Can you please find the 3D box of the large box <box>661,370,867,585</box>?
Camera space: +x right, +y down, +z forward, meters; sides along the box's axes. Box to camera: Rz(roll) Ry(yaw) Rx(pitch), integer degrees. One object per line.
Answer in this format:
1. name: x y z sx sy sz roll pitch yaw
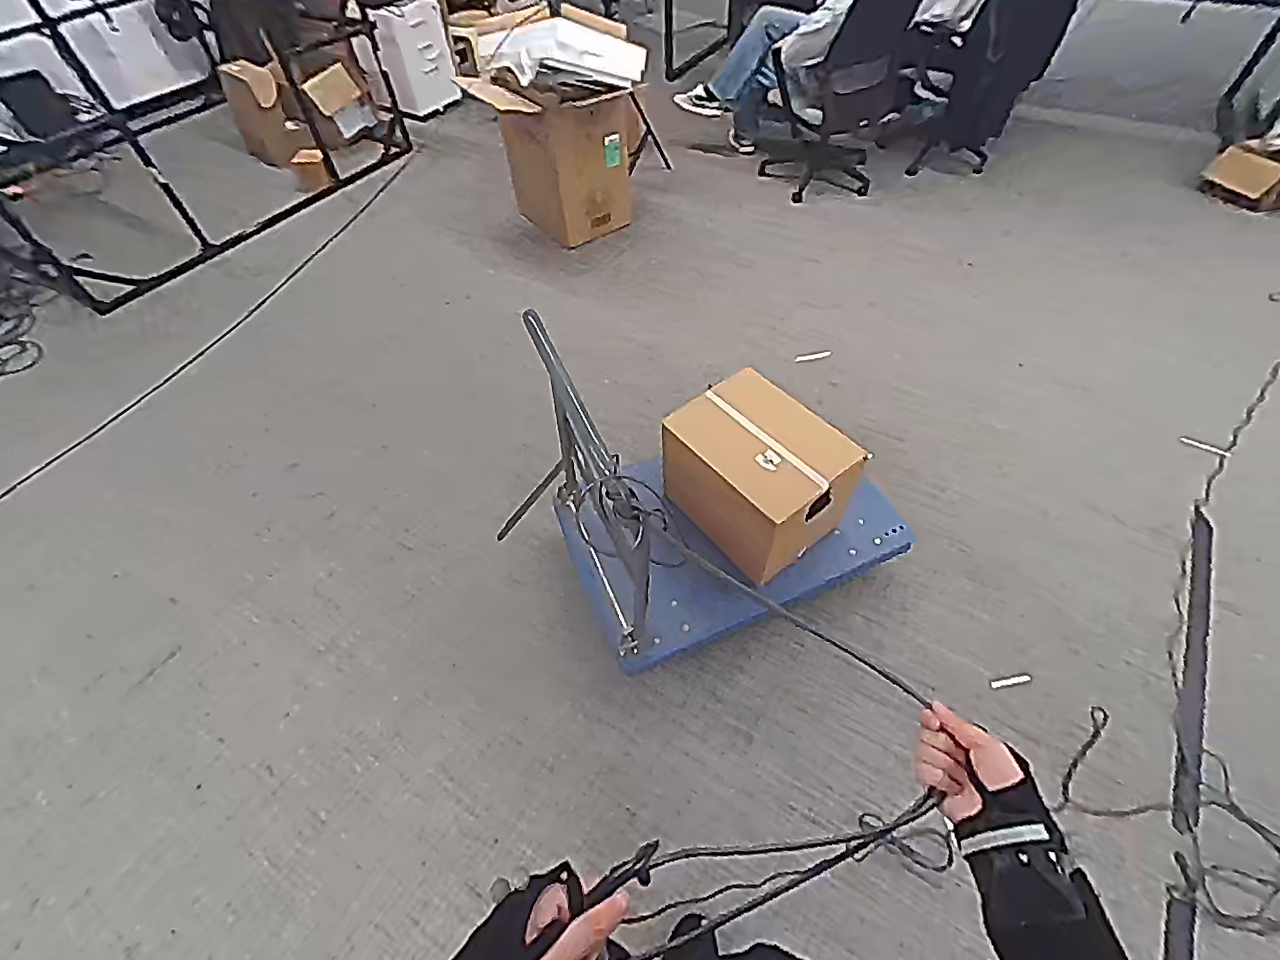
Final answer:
1. large box: 0.295 -0.010 1.422 0.320 0.320 0.408 -34 60 -19
